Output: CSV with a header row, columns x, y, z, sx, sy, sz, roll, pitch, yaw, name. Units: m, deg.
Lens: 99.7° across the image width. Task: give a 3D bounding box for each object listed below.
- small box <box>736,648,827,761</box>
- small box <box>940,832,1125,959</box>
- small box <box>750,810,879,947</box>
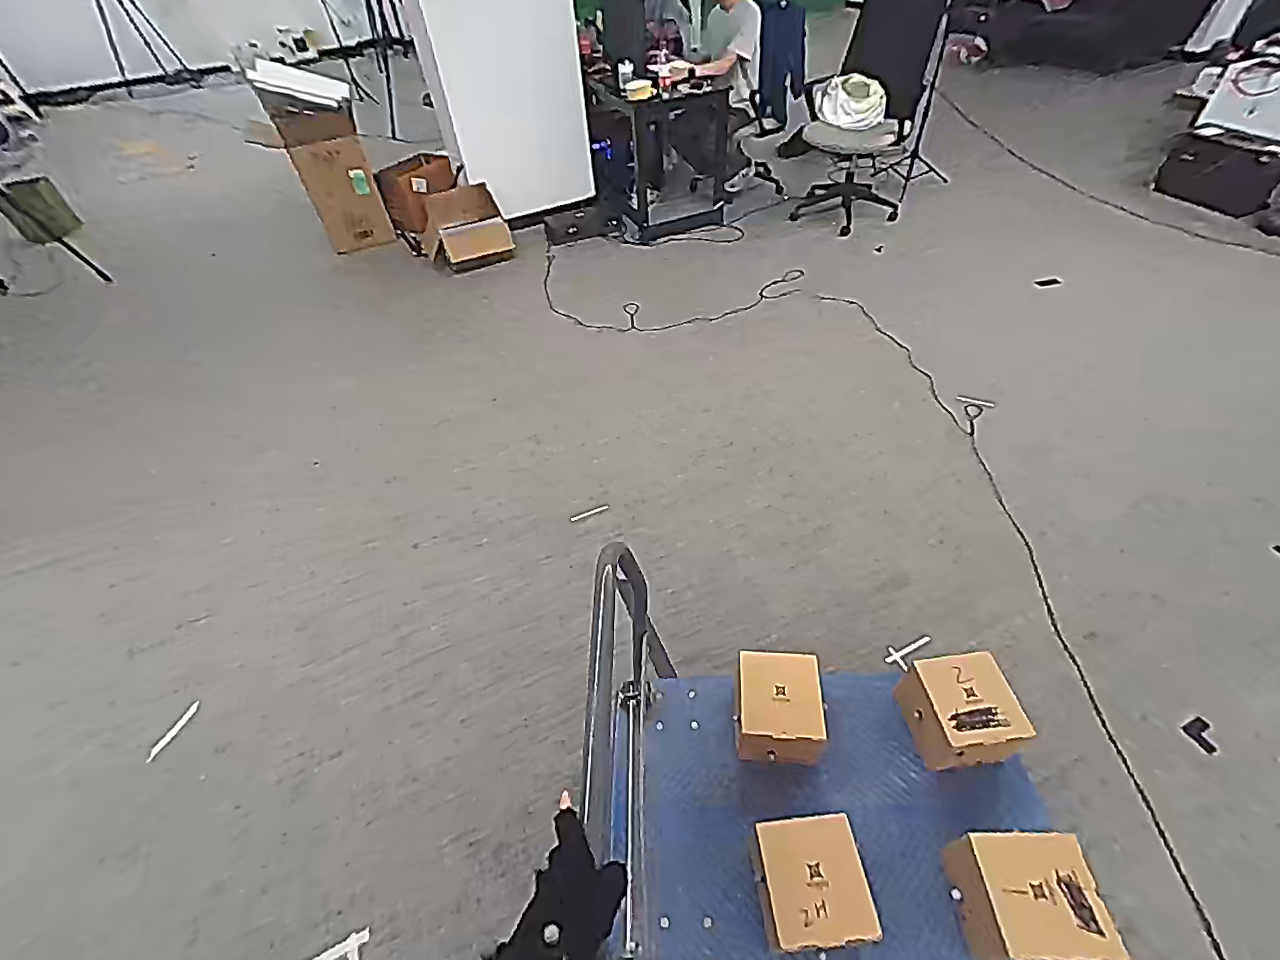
x,y,z,sx,sy,sz,roll,pitch,yaw,name
0.298,0.488,1.176,0.168,0.176,0.179,2,49,7,small box
0.654,0.719,0.929,0.179,0.176,0.168,-2,48,5,small box
0.298,0.715,0.969,0.168,0.176,0.179,-6,48,1,small box
